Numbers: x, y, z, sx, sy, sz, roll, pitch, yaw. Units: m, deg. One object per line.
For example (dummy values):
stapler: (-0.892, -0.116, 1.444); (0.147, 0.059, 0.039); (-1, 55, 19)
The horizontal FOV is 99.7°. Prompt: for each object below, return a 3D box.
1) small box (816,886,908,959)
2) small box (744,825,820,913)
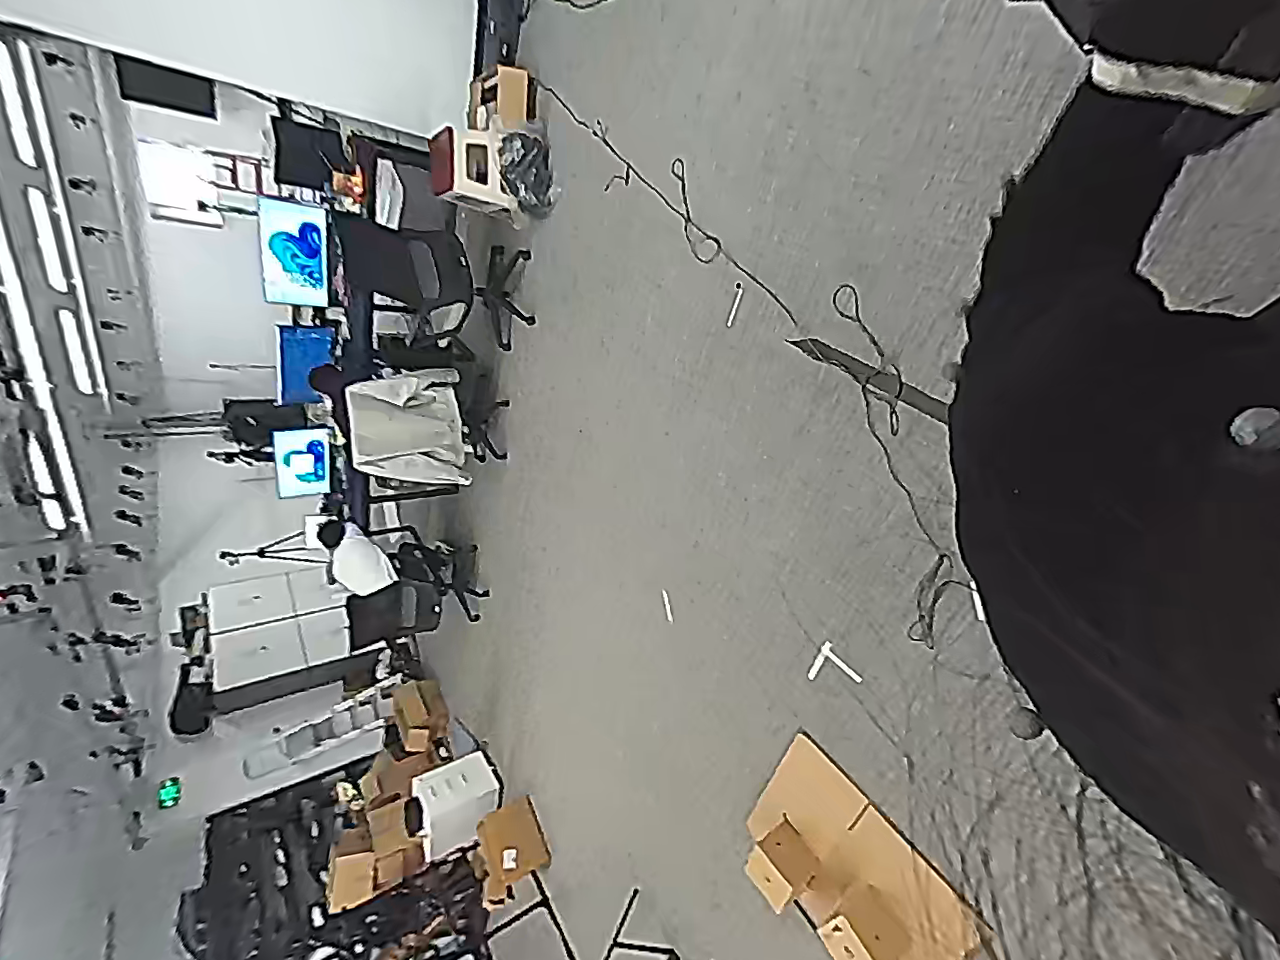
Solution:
small box: (0.705, 1.443, 1.711); (0.179, 0.176, 0.168); (50, 132, 33)
small box: (0.513, 1.395, 1.957); (0.179, 0.176, 0.168); (37, 125, 43)
